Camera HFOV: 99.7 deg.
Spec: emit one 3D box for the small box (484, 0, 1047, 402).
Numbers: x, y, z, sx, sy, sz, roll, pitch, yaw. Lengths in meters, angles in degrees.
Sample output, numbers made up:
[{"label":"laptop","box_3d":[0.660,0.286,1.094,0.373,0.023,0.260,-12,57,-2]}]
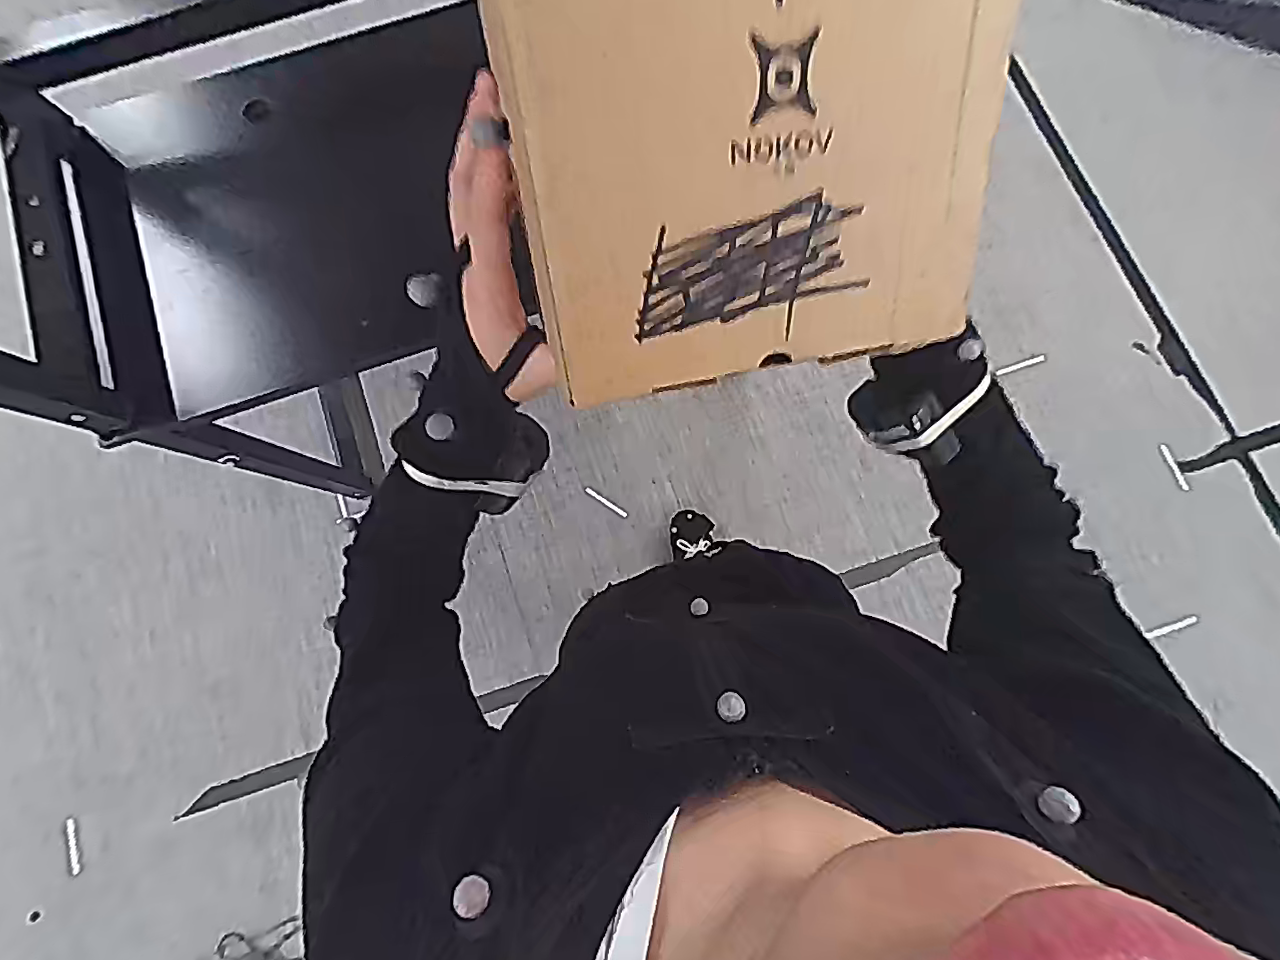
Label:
[{"label":"small box","box_3d":[0.029,-0.156,0.233,0.168,0.176,0.179,-13,120,-8]}]
